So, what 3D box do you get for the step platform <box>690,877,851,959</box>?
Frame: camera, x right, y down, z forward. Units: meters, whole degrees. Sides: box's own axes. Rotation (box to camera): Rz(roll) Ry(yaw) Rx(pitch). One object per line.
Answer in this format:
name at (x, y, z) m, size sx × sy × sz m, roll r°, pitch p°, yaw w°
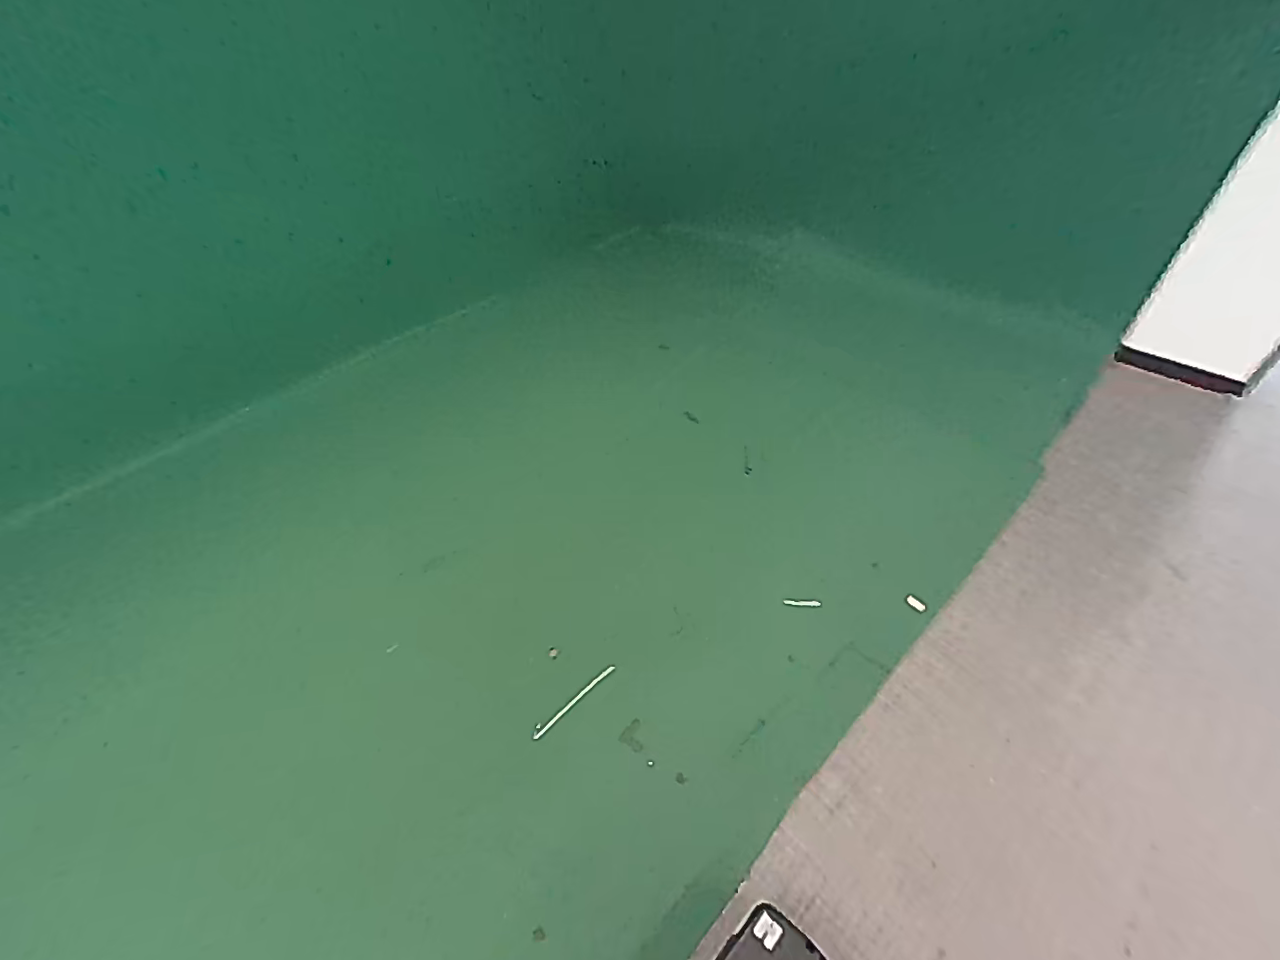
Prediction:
step platform at (0.099, 1.059, 0.903) m, size 0.684 × 0.204 × 0.286 m, roll -38°, pitch 56°, yaw -25°
